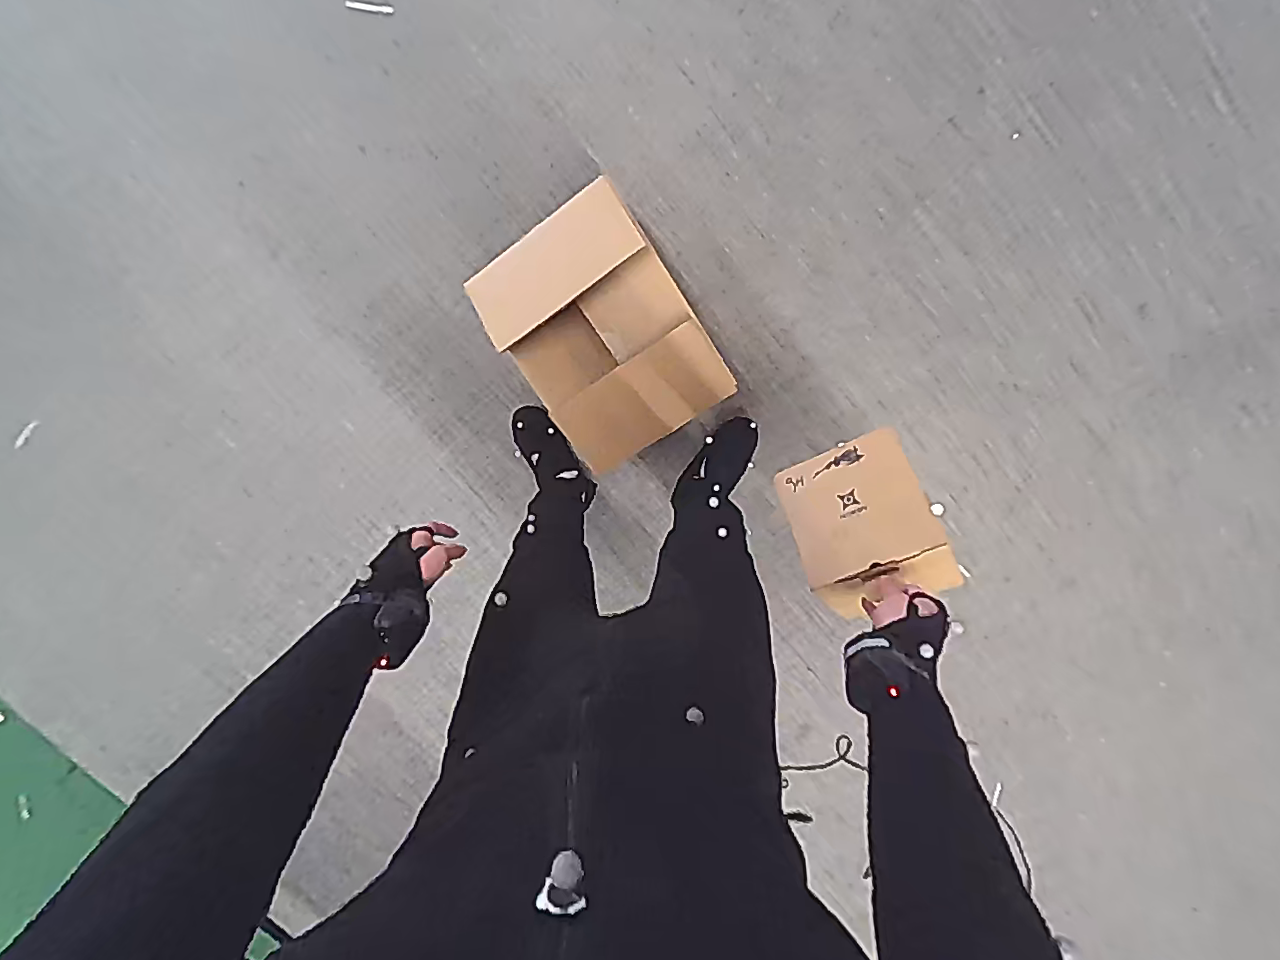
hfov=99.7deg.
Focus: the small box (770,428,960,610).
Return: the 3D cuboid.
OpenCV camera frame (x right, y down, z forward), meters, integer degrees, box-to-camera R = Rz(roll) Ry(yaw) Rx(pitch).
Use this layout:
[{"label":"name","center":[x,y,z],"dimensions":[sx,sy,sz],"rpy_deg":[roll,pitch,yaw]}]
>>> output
[{"label":"small box","center":[0.308,0.066,0.741],"dimensions":[0.168,0.179,0.176],"rpy_deg":[-30,142,23]}]
